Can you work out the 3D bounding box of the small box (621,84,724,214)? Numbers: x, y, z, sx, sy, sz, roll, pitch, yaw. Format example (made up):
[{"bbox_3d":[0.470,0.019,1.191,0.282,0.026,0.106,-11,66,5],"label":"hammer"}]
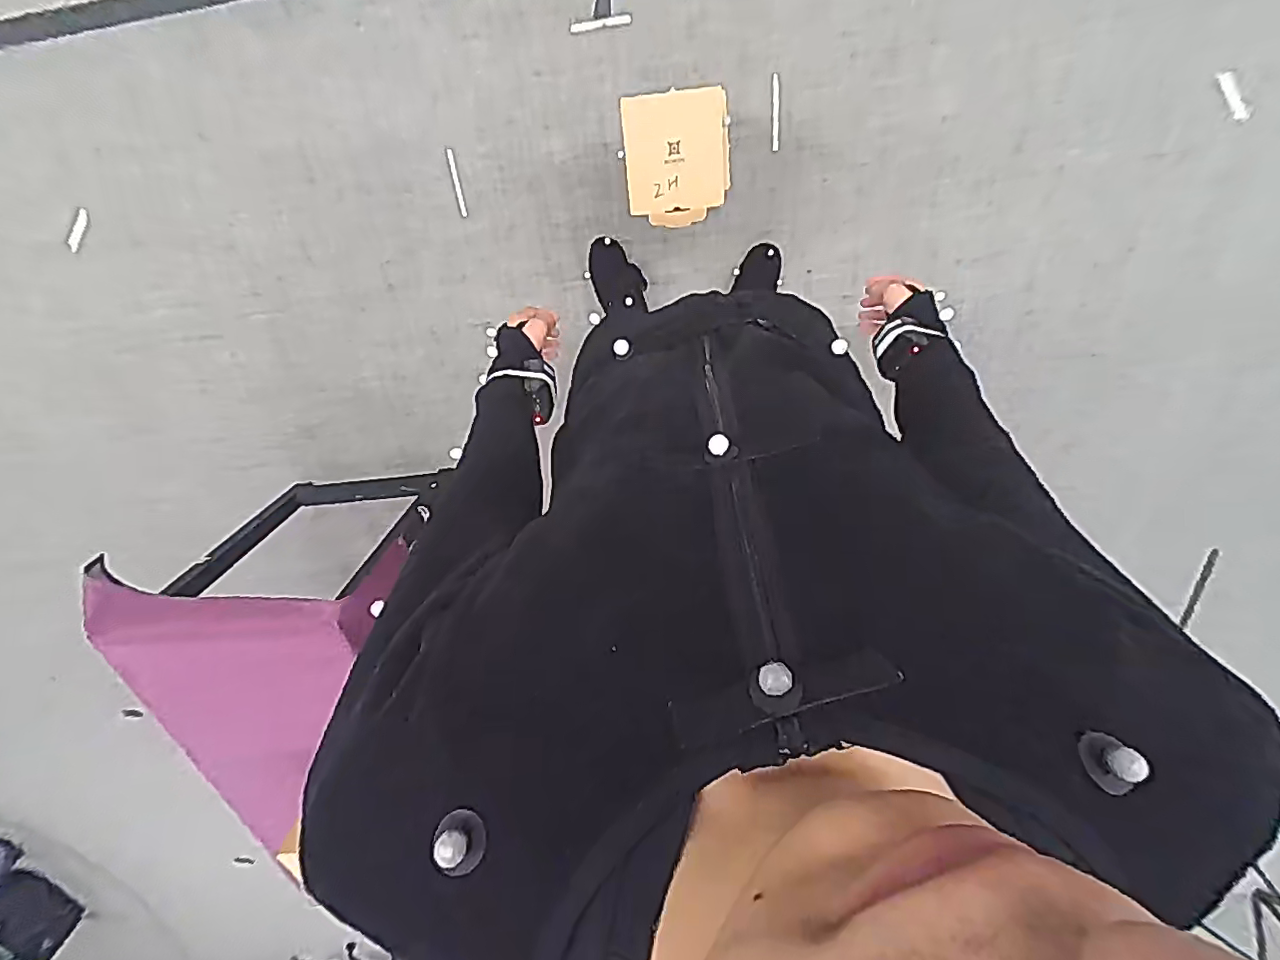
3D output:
[{"bbox_3d":[0.059,-0.583,0.968,0.168,0.176,0.179,-4,119,5],"label":"small box"}]
